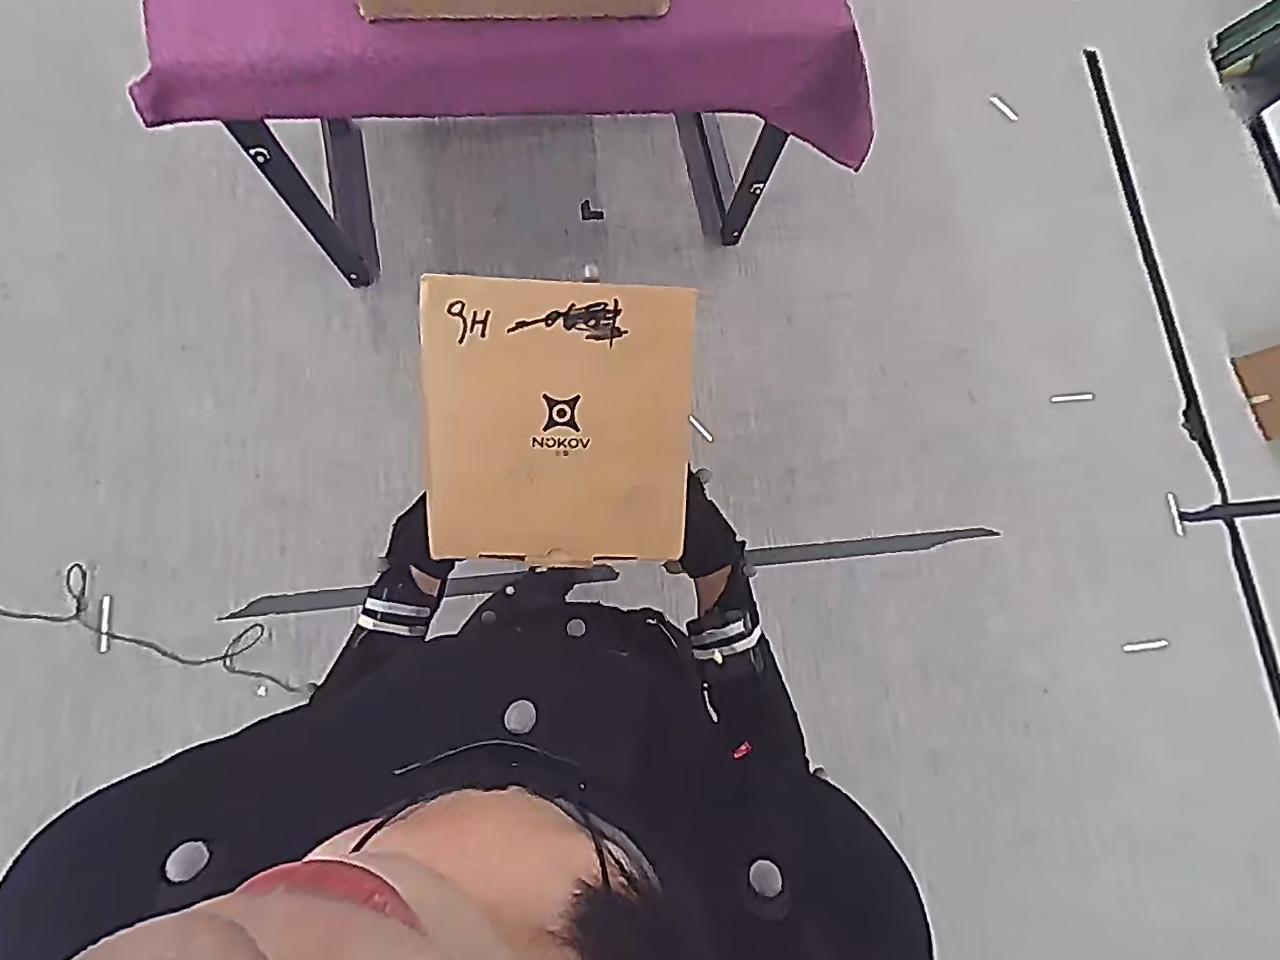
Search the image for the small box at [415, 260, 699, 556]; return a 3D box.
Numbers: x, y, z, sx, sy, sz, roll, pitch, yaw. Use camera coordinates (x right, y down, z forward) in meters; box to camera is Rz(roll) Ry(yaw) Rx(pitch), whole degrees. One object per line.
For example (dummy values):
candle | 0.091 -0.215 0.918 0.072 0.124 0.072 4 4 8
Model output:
small box | -0.056 -0.054 0.407 0.168 0.176 0.179 1 102 -6
